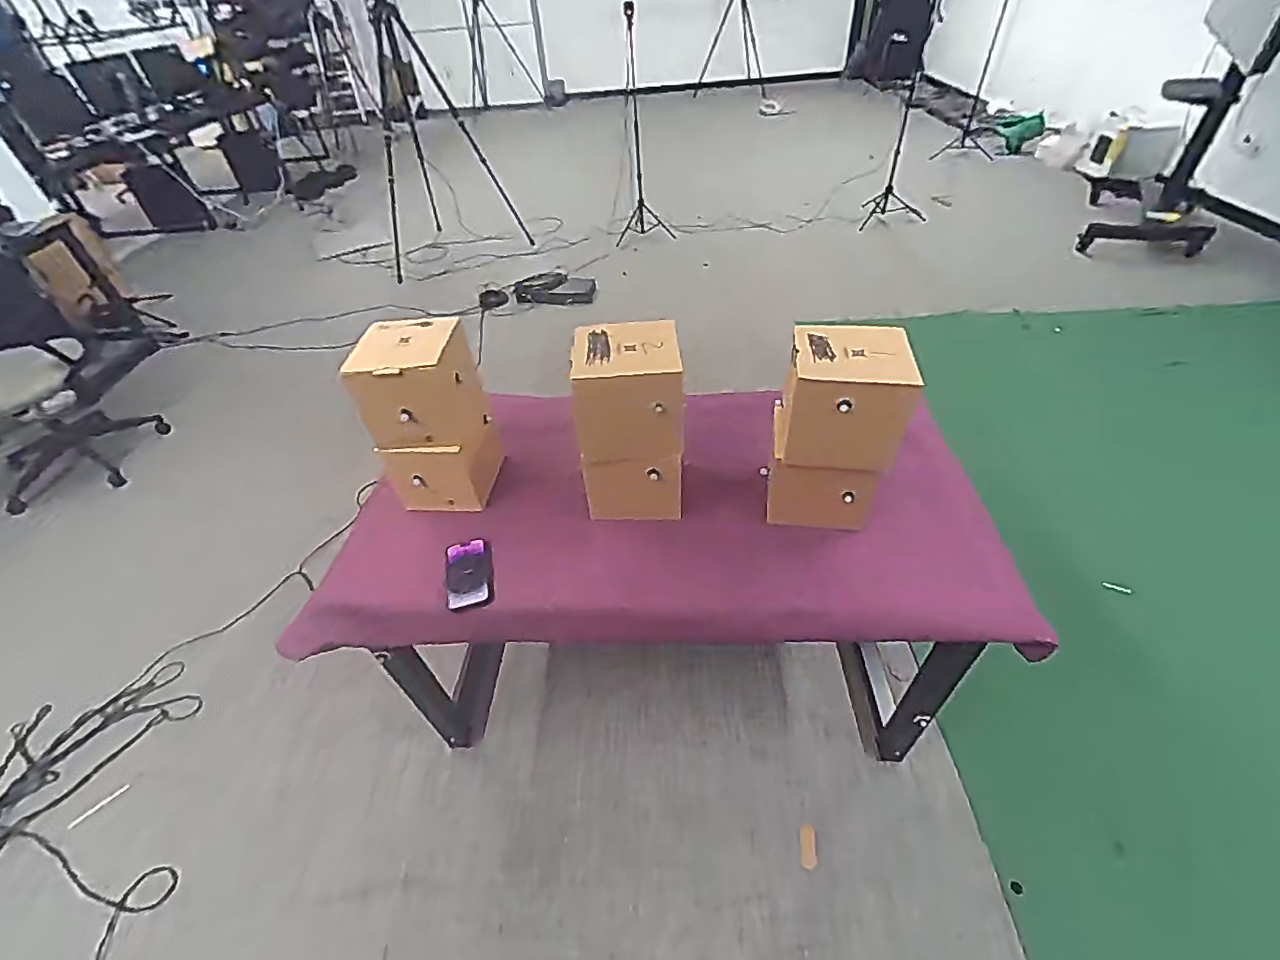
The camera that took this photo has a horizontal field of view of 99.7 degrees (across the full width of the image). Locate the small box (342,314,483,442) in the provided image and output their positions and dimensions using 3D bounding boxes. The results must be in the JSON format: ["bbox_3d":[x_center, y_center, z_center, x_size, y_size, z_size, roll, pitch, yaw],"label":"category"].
[{"bbox_3d":[-0.402,-0.182,0.993,0.168,0.176,0.179,-3,44,2],"label":"small box"}]

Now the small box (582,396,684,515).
[{"bbox_3d":[-0.003,-0.045,1.043,0.179,0.176,0.168,0,44,6],"label":"small box"}]

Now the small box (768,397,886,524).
[{"bbox_3d":[0.335,-0.035,0.998,0.179,0.176,0.168,4,44,11],"label":"small box"}]

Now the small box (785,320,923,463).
[{"bbox_3d":[0.329,-0.142,0.874,0.179,0.176,0.168,4,44,10],"label":"small box"}]

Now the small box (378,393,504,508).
[{"bbox_3d":[-0.390,-0.058,1.100,0.168,0.176,0.179,0,44,7],"label":"small box"}]
